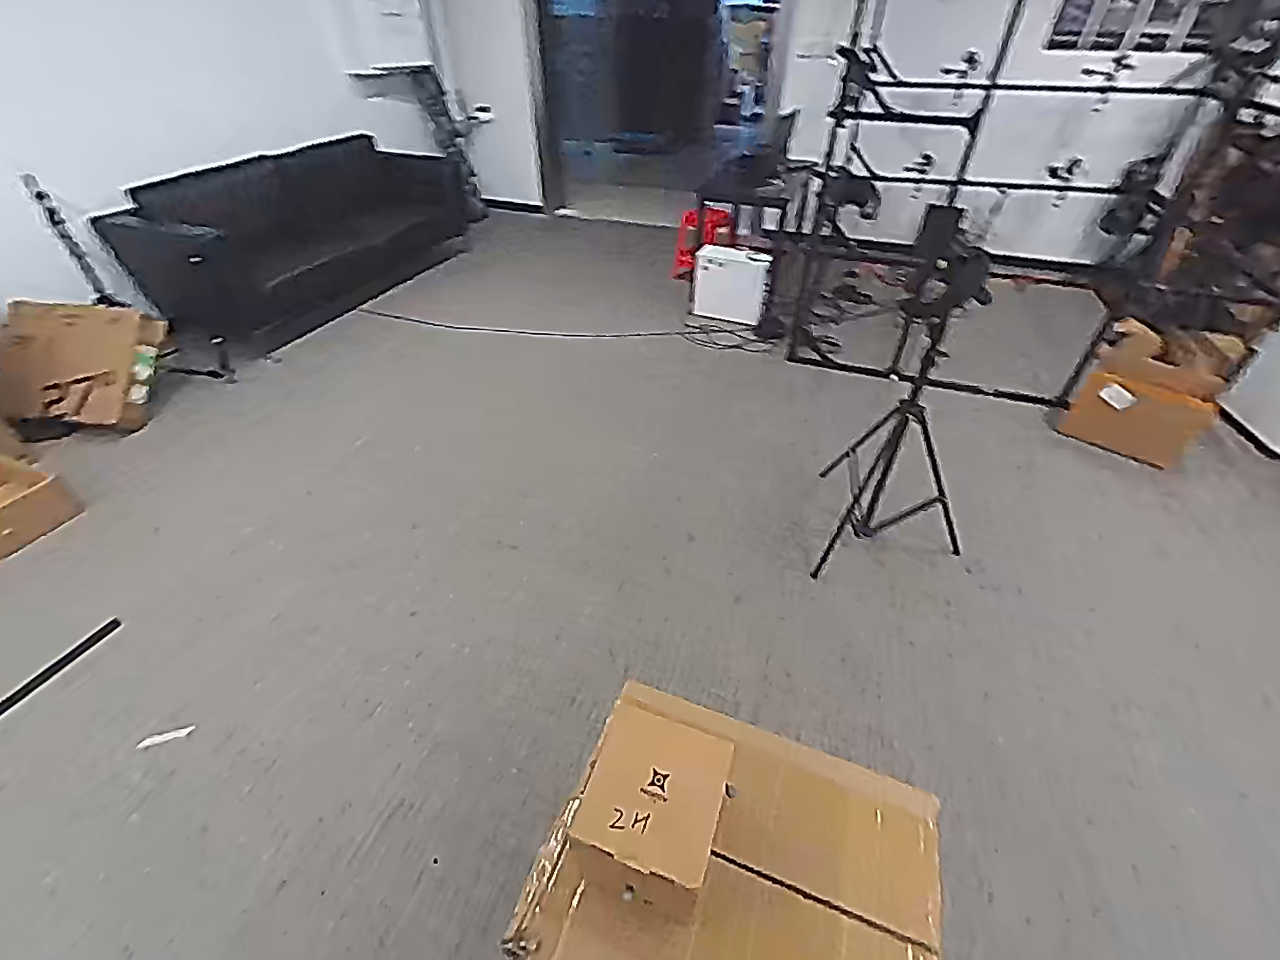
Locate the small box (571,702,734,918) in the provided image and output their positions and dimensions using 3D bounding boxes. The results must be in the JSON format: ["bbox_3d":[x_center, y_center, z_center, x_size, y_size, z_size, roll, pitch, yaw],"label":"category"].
[{"bbox_3d":[0.020,0.444,0.734,0.168,0.176,0.179,14,43,15],"label":"small box"}]
